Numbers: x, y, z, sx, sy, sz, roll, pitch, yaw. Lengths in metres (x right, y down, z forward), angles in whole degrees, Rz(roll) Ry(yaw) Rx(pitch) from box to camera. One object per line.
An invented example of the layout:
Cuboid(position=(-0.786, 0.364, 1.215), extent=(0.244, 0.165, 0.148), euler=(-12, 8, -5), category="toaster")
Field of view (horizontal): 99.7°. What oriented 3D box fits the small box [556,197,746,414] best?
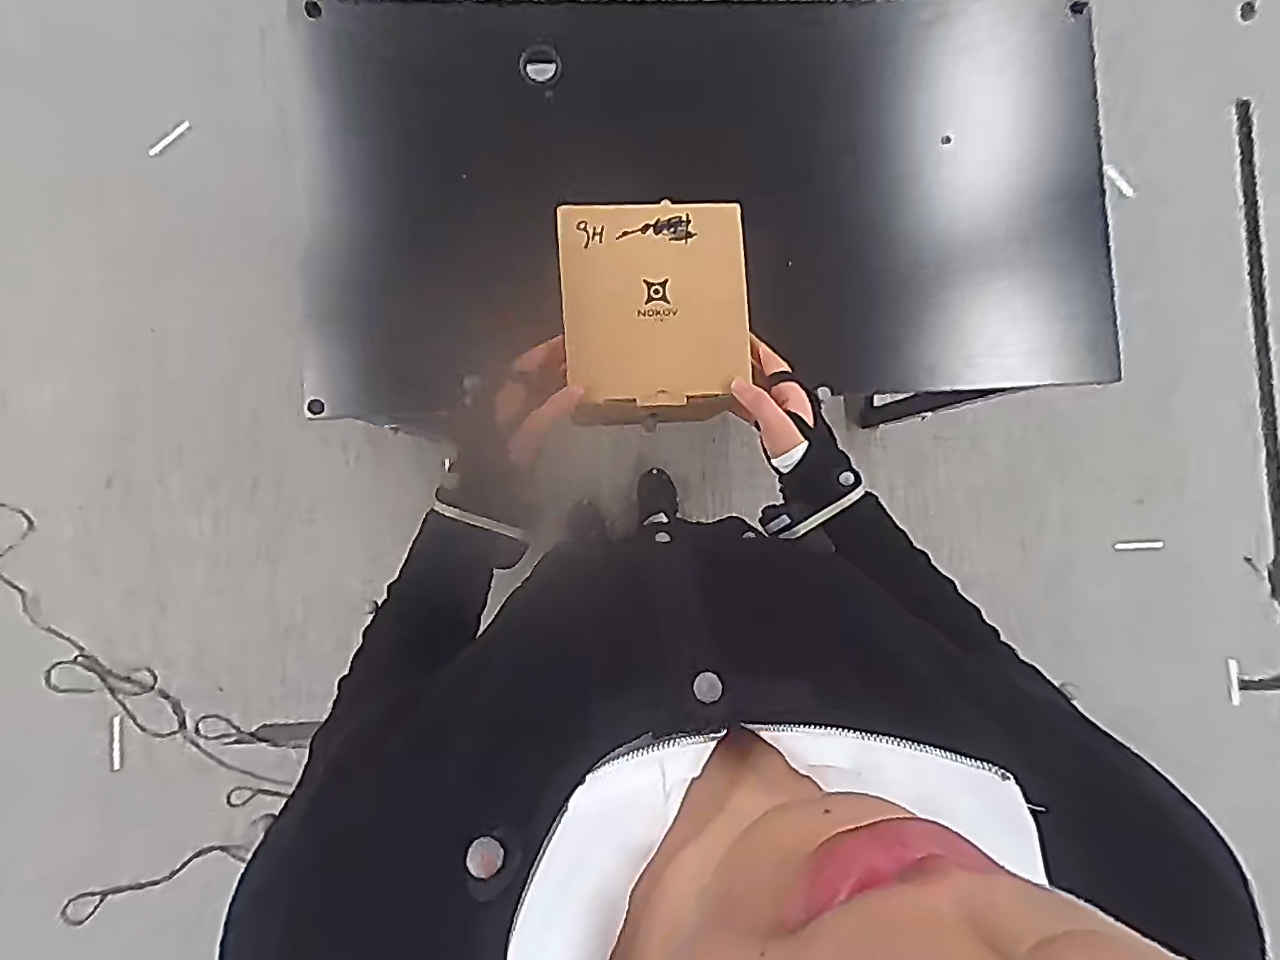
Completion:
Cuboid(position=(0.005, -0.163, 0.559), extent=(0.168, 0.176, 0.179), euler=(-4, 90, -5), category="small box")
